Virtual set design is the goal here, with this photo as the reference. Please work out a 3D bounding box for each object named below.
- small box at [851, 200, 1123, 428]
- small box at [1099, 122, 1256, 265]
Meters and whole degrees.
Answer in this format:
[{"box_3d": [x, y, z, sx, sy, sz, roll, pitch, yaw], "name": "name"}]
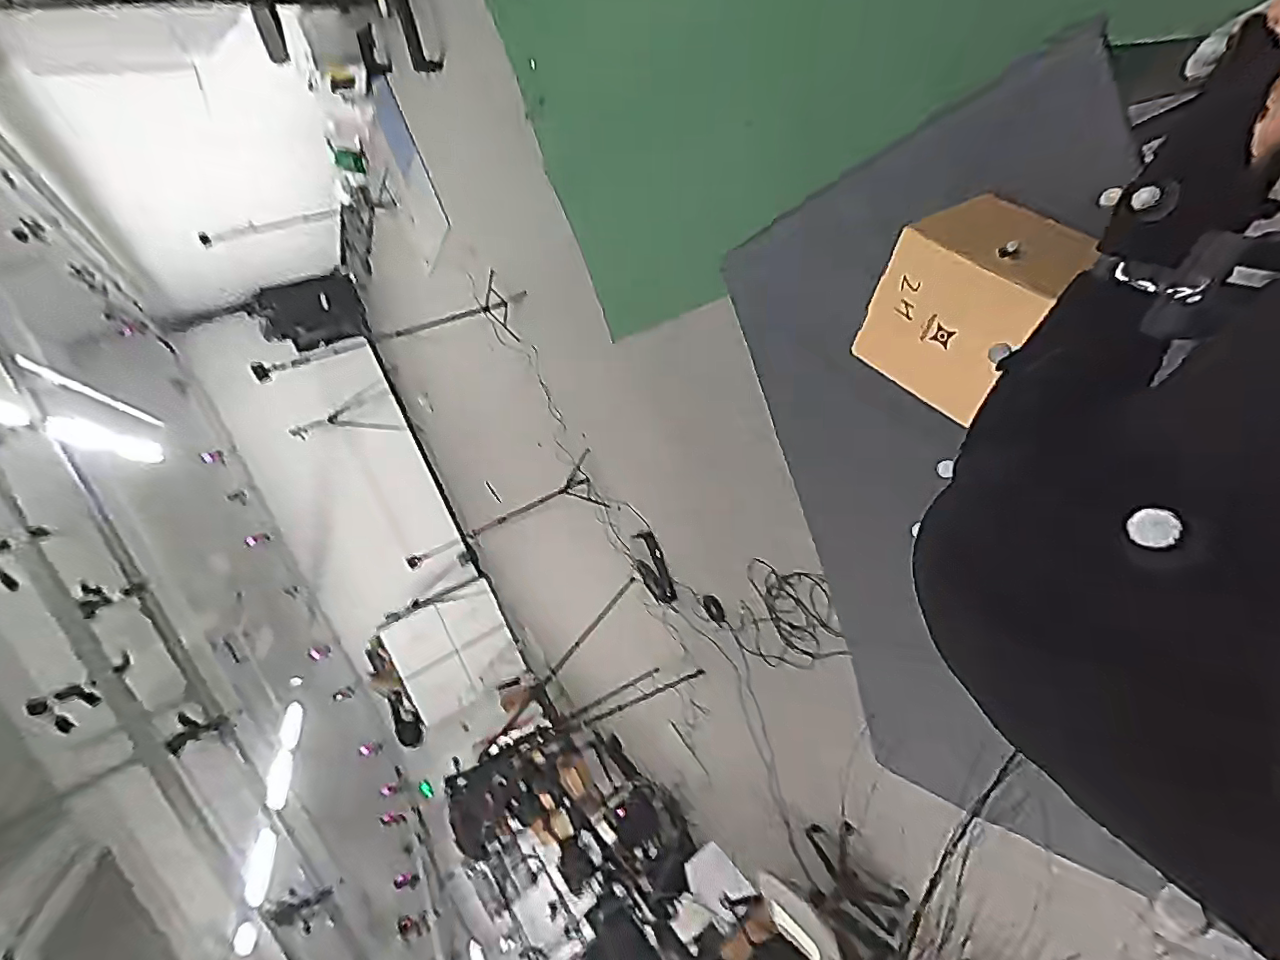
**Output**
[{"box_3d": [0.390, -0.198, 0.625, 0.179, 0.176, 0.168, 46, 151, 28], "name": "small box"}, {"box_3d": [0.961, -0.506, 0.966, 0.168, 0.176, 0.179, 5, 118, 58], "name": "small box"}]
